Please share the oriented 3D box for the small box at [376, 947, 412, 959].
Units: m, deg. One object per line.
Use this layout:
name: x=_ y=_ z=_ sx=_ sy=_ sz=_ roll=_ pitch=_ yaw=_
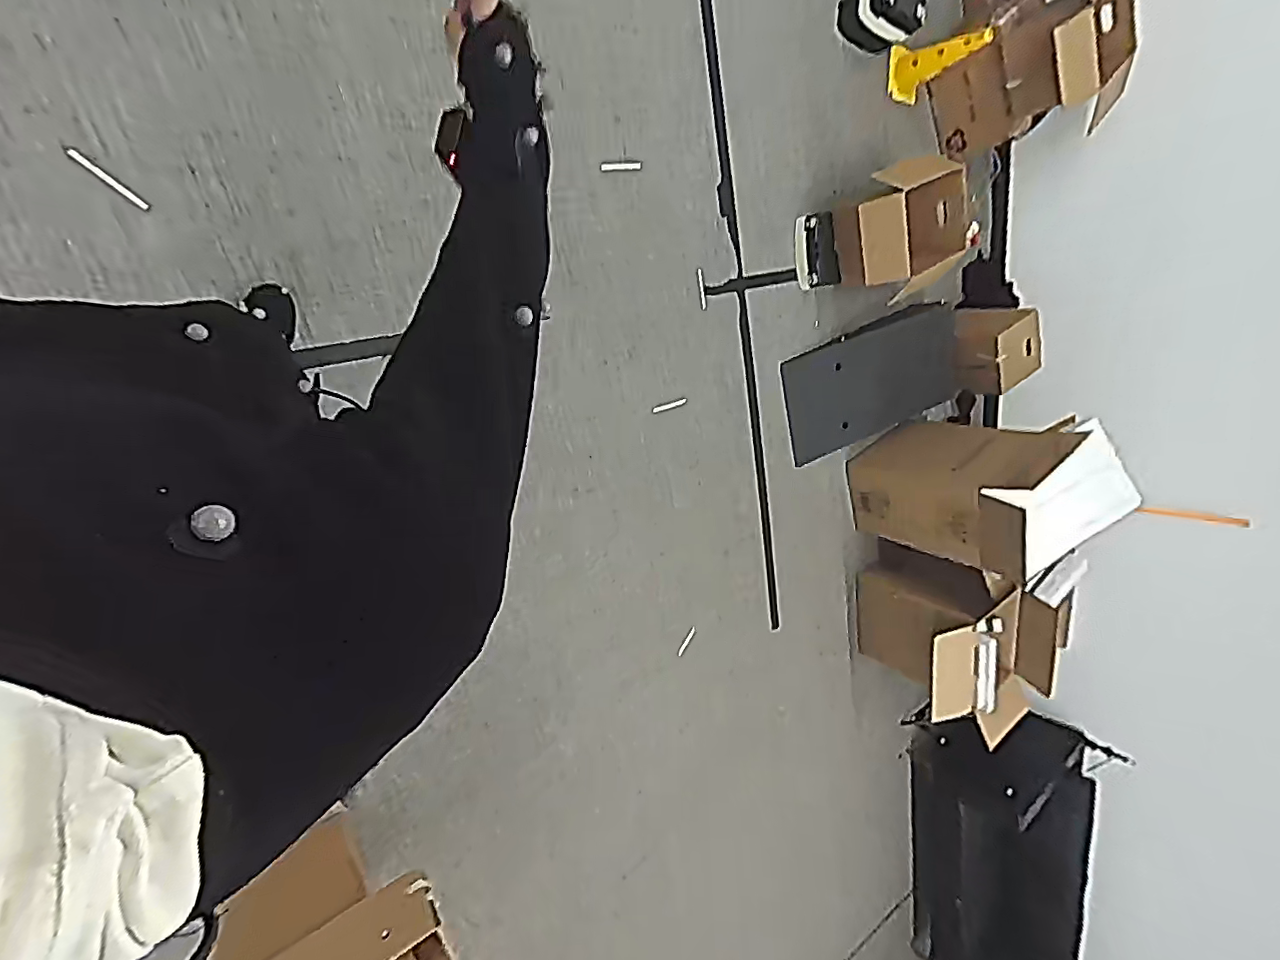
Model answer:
small box: x=-0.607 y=1.271 z=1.280 sx=0.168 sy=0.176 sz=0.179 roll=-22 pitch=114 yaw=-29
